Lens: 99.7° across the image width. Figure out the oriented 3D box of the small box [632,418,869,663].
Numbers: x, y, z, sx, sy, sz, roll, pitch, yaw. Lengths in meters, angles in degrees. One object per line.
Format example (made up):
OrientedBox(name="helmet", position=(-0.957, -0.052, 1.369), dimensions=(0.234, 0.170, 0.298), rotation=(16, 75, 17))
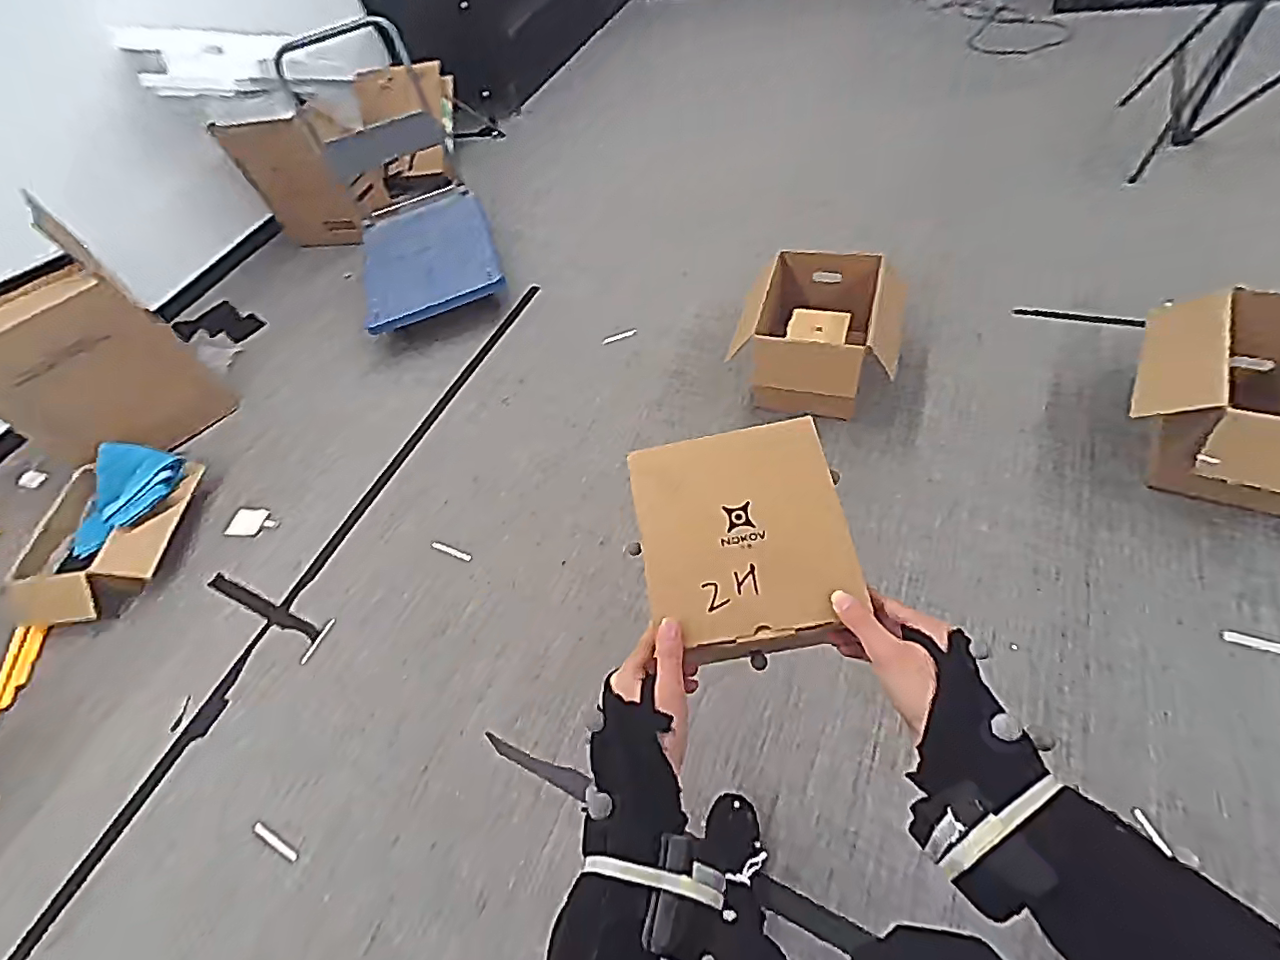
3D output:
OrientedBox(name="small box", position=(0.091, 0.067, 0.512), dimensions=(0.168, 0.176, 0.179), rotation=(-10, 67, 5))
